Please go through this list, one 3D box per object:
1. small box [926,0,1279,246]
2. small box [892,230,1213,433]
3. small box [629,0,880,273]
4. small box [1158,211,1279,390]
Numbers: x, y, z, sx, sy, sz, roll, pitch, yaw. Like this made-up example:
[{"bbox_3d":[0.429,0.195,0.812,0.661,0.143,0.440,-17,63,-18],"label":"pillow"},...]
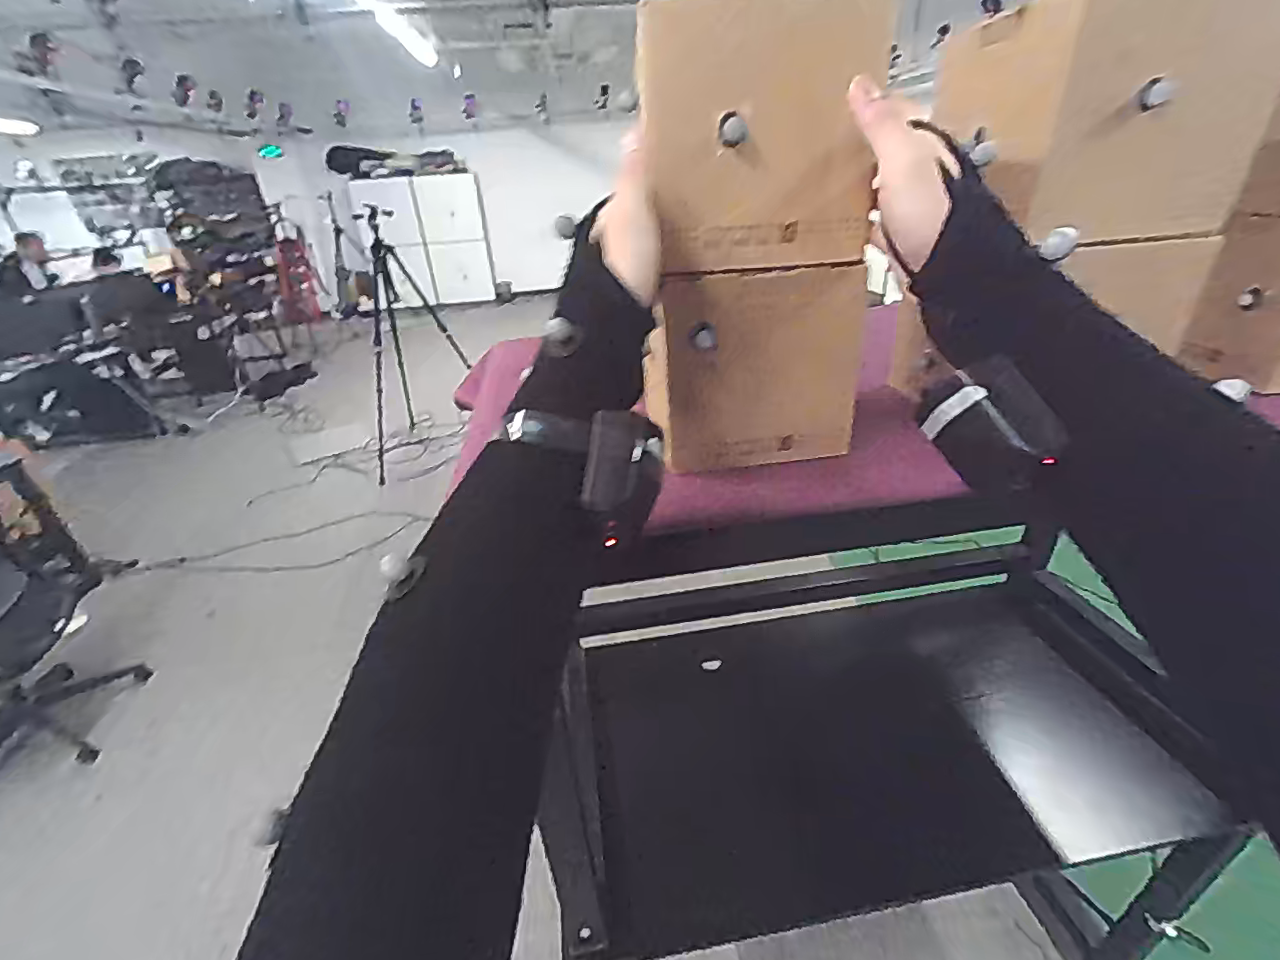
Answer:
[{"bbox_3d":[0.376,-0.304,0.472,0.179,0.176,0.168,-7,29,-2],"label":"small box"},{"bbox_3d":[0.383,-0.158,0.545,0.179,0.176,0.168,-6,29,0],"label":"small box"},{"bbox_3d":[0.083,-0.272,0.453,0.168,0.176,0.179,-3,27,3],"label":"small box"},{"bbox_3d":[0.703,-0.203,0.584,0.179,0.176,0.168,-6,29,-2],"label":"small box"}]
